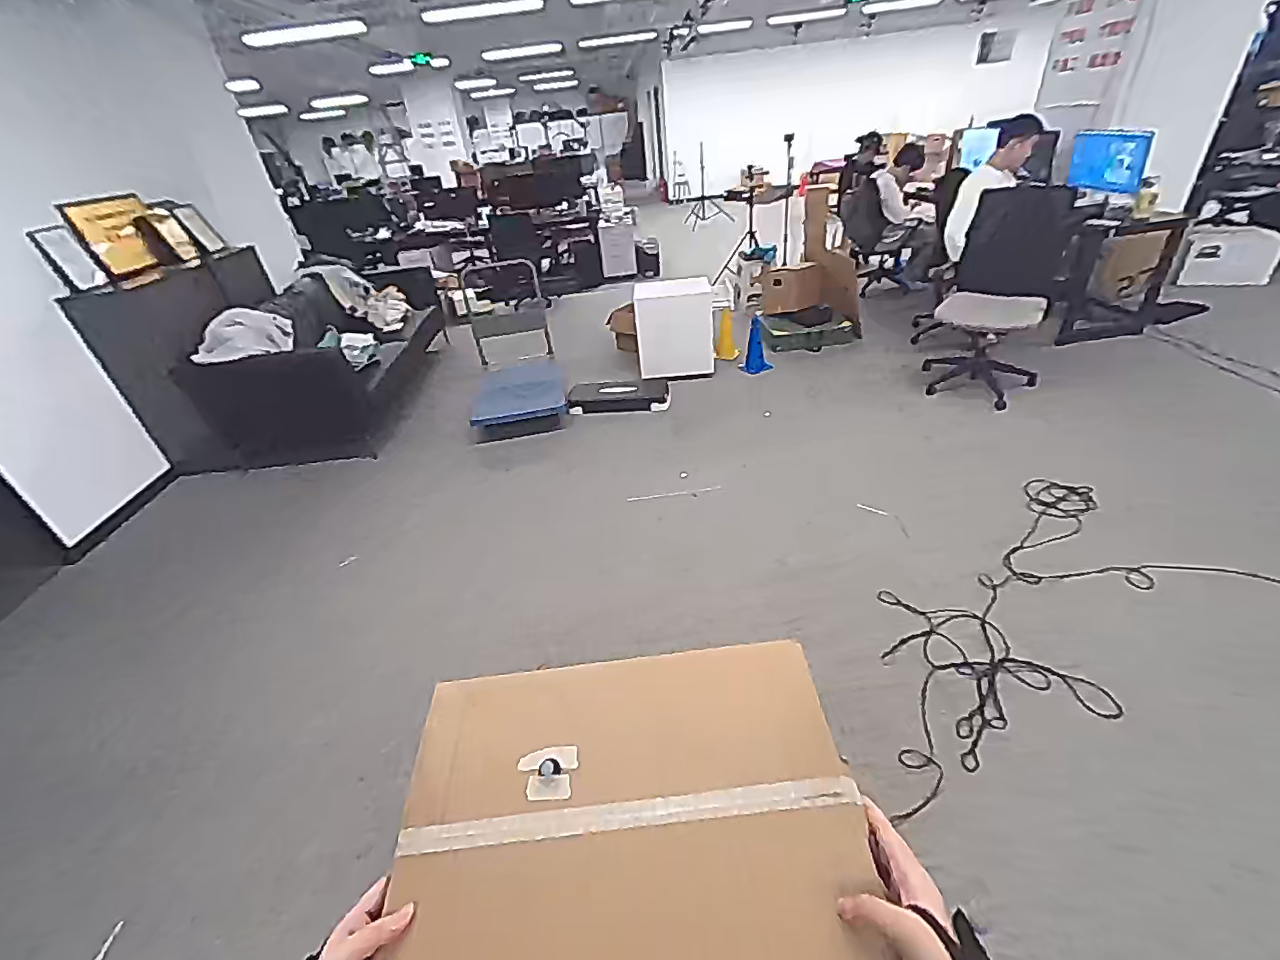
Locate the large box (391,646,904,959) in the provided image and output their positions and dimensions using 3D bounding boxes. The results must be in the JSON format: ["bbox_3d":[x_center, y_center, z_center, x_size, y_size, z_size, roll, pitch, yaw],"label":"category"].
[{"bbox_3d":[0.013,0.422,0.581,0.408,0.320,0.320,-9,39,3],"label":"large box"}]
